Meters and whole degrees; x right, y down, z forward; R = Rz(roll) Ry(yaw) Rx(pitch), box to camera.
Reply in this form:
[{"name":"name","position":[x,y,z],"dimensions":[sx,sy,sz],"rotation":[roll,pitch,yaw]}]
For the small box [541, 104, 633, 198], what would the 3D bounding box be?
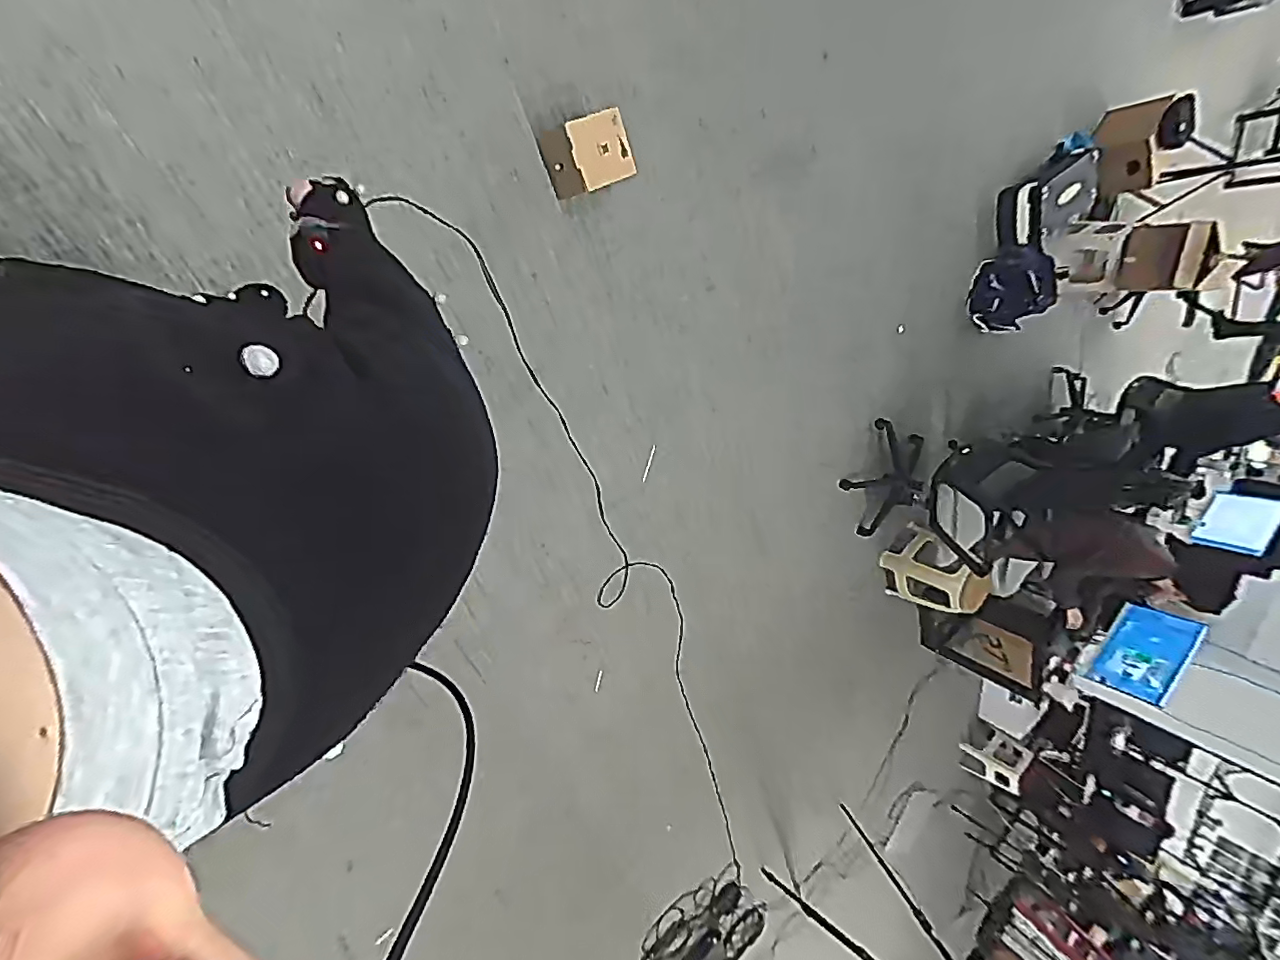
[{"name":"small box","position":[-0.153,-0.900,1.492],"dimensions":[0.179,0.176,0.168],"rotation":[-34,121,-22]}]
